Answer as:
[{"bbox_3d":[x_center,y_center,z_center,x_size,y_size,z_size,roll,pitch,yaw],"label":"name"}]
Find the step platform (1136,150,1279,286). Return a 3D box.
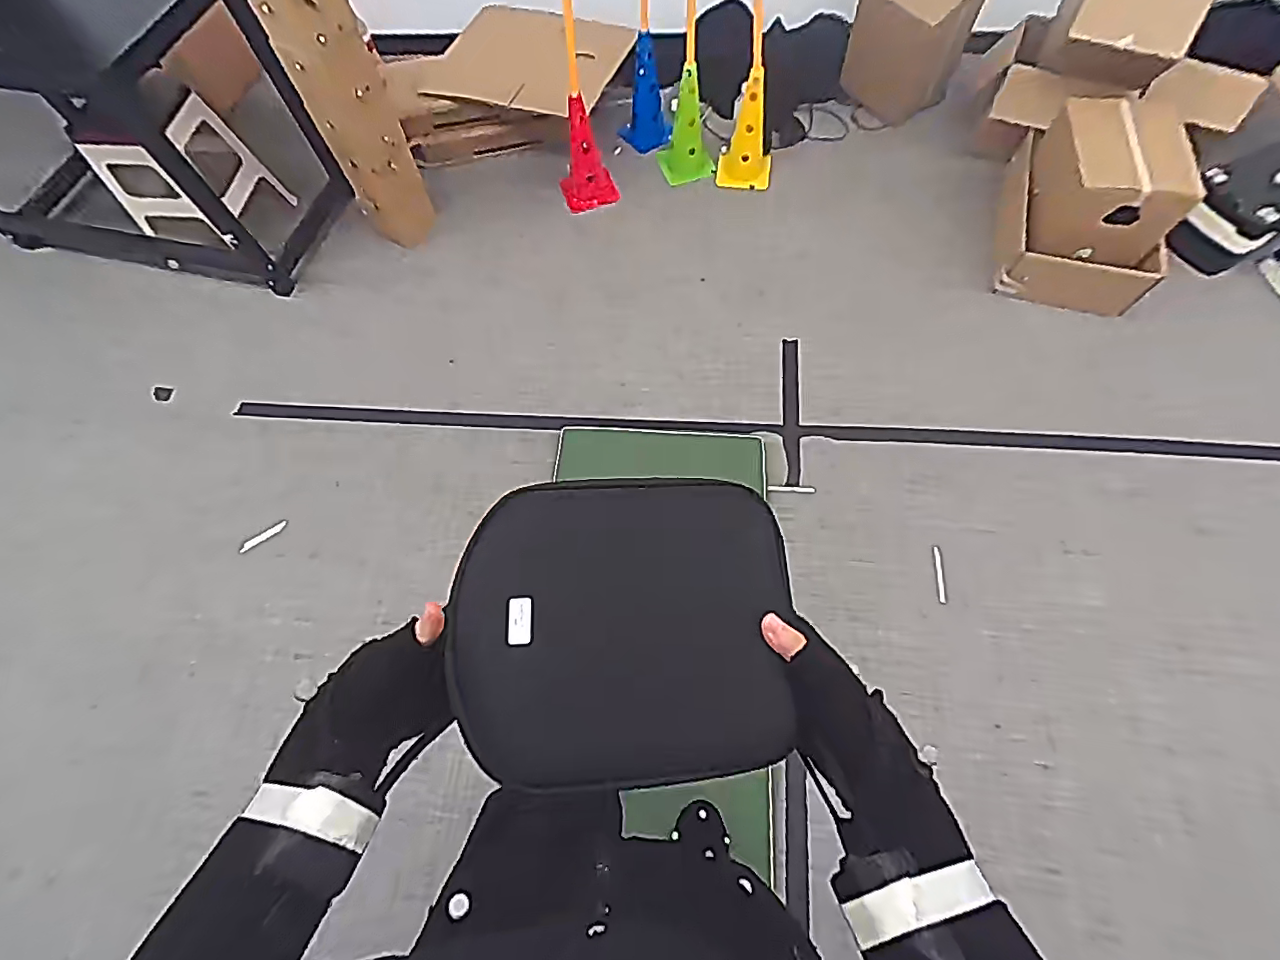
[{"bbox_3d":[2.097,-0.916,1.826,0.684,0.204,0.286,-23,67,-7],"label":"step platform"}]
